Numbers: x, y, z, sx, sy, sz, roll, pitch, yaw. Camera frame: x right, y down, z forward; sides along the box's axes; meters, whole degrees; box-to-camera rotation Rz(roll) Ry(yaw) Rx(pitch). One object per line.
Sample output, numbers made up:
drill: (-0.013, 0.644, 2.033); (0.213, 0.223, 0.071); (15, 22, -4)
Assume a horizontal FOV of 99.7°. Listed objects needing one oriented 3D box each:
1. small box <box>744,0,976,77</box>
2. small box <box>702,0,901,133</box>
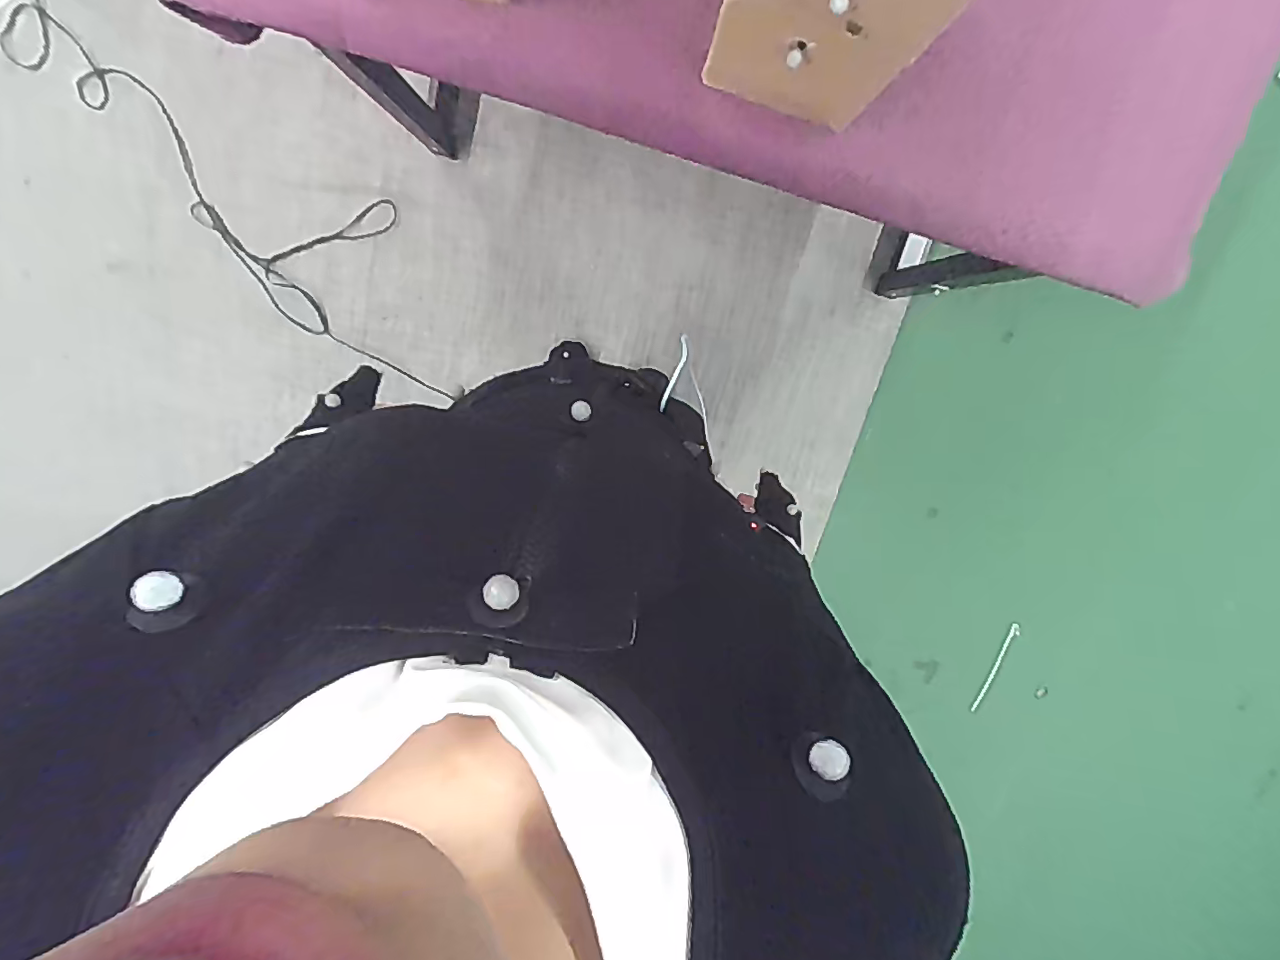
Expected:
small box: (0.187, -0.446, 0.385); (0.168, 0.176, 0.179); (20, 102, -5)
small box: (0.177, -0.485, 0.545); (0.179, 0.176, 0.168); (17, 103, -5)
